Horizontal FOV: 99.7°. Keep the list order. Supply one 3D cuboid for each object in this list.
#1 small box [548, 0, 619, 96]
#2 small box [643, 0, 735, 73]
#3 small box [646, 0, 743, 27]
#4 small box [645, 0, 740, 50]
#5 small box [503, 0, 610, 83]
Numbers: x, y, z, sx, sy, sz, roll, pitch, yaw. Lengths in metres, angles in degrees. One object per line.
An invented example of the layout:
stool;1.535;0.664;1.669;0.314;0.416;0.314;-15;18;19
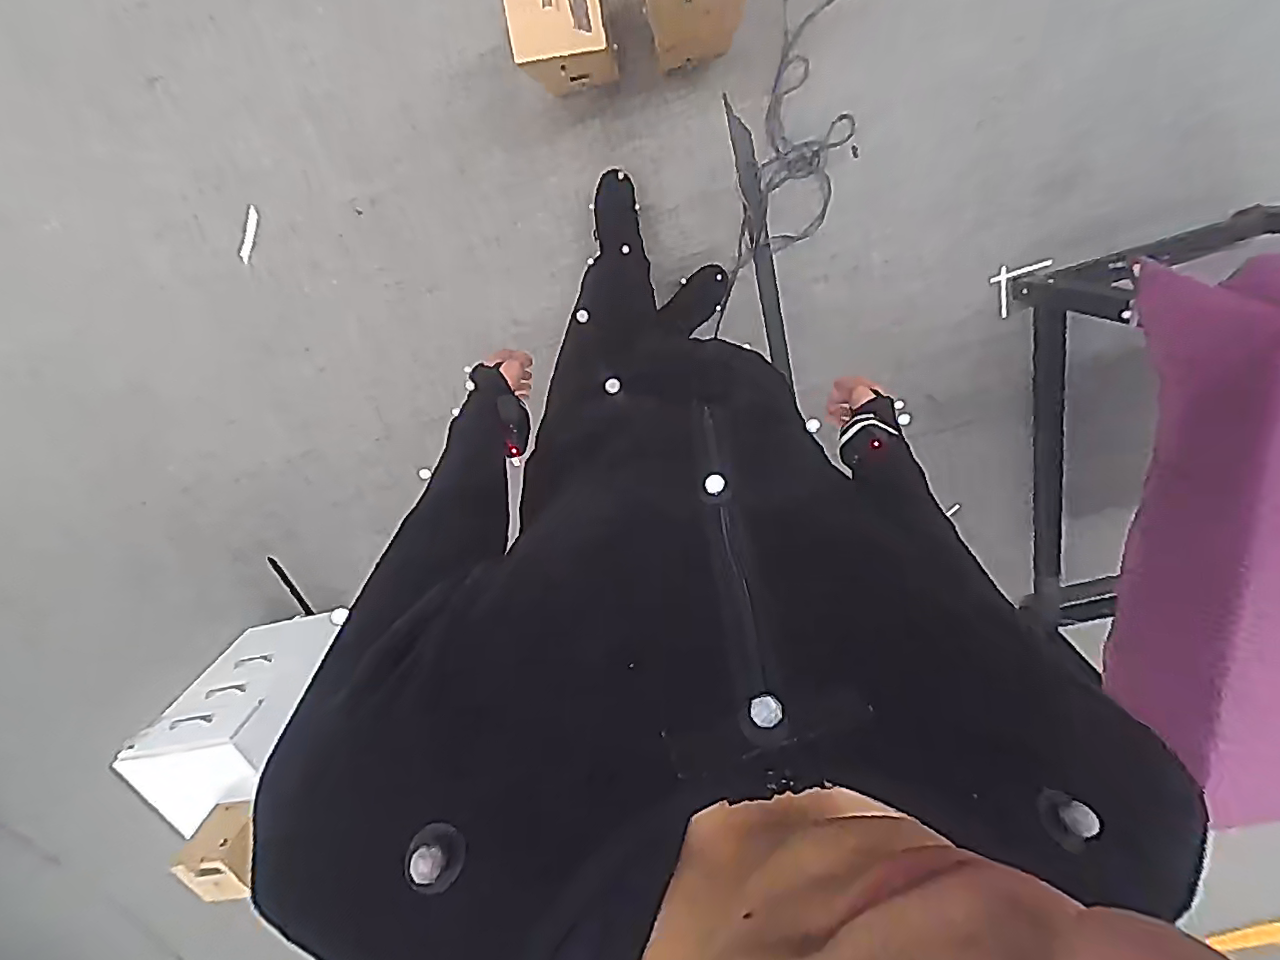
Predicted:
small box;-0.145;-0.970;1.172;0.168;0.176;0.179;-9;115;7
small box;0.097;-1.008;1.146;0.168;0.176;0.179;-13;115;10
small box;0.083;-0.864;0.854;0.168;0.176;0.179;-5;114;5
small box;0.091;-0.937;1.001;0.179;0.176;0.168;-12;114;8
small box;-0.154;-0.884;1.031;0.179;0.176;0.168;-5;115;6
